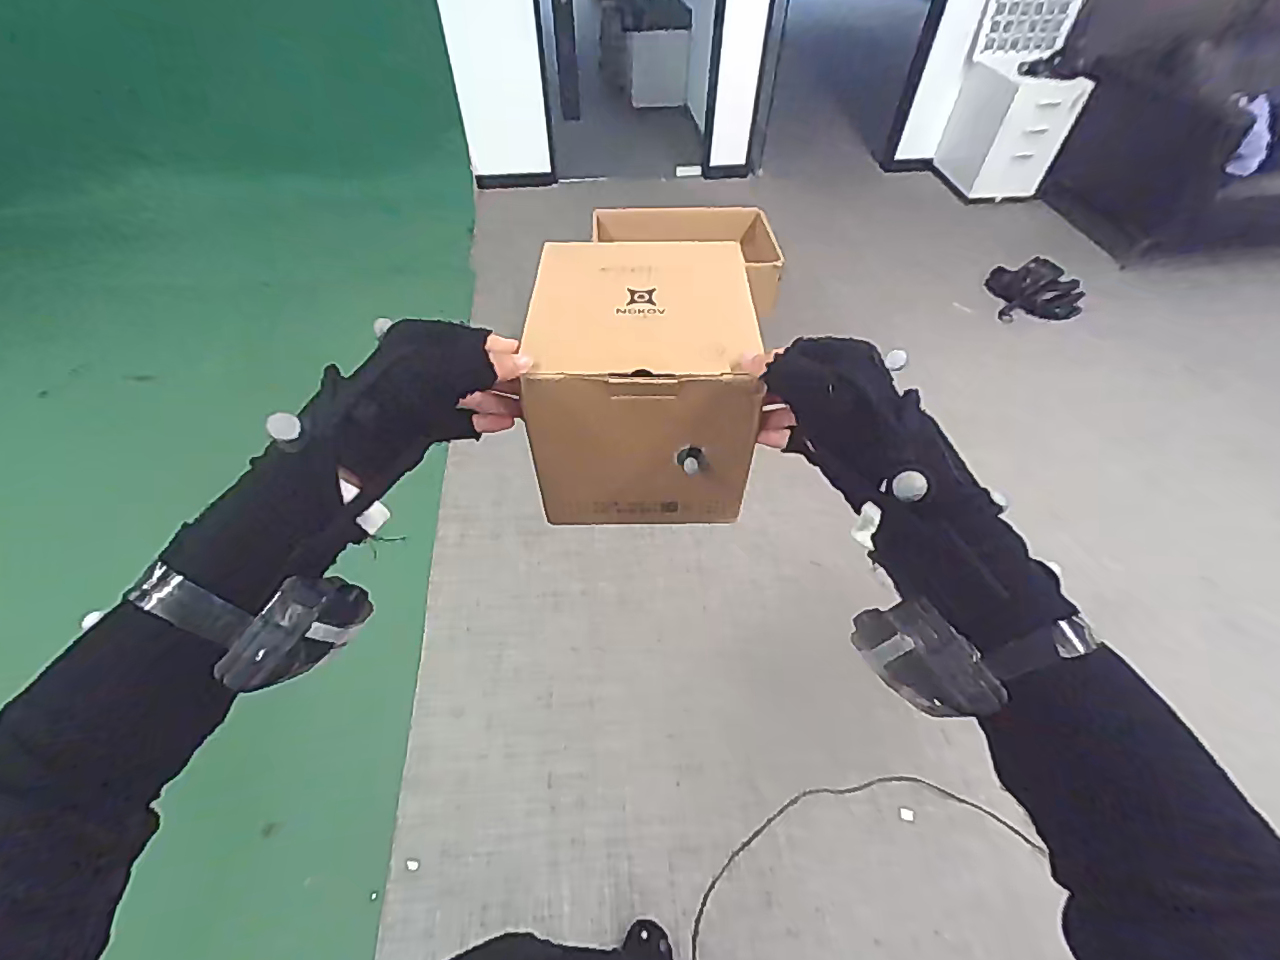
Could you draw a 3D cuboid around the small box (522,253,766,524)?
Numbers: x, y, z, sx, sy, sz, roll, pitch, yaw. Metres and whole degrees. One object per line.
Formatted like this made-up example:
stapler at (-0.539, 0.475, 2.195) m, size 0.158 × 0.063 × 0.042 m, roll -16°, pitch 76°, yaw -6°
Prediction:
small box at (0.004, -0.074, 0.467) m, size 0.168 × 0.176 × 0.179 m, roll 0°, pitch 49°, yaw -1°
